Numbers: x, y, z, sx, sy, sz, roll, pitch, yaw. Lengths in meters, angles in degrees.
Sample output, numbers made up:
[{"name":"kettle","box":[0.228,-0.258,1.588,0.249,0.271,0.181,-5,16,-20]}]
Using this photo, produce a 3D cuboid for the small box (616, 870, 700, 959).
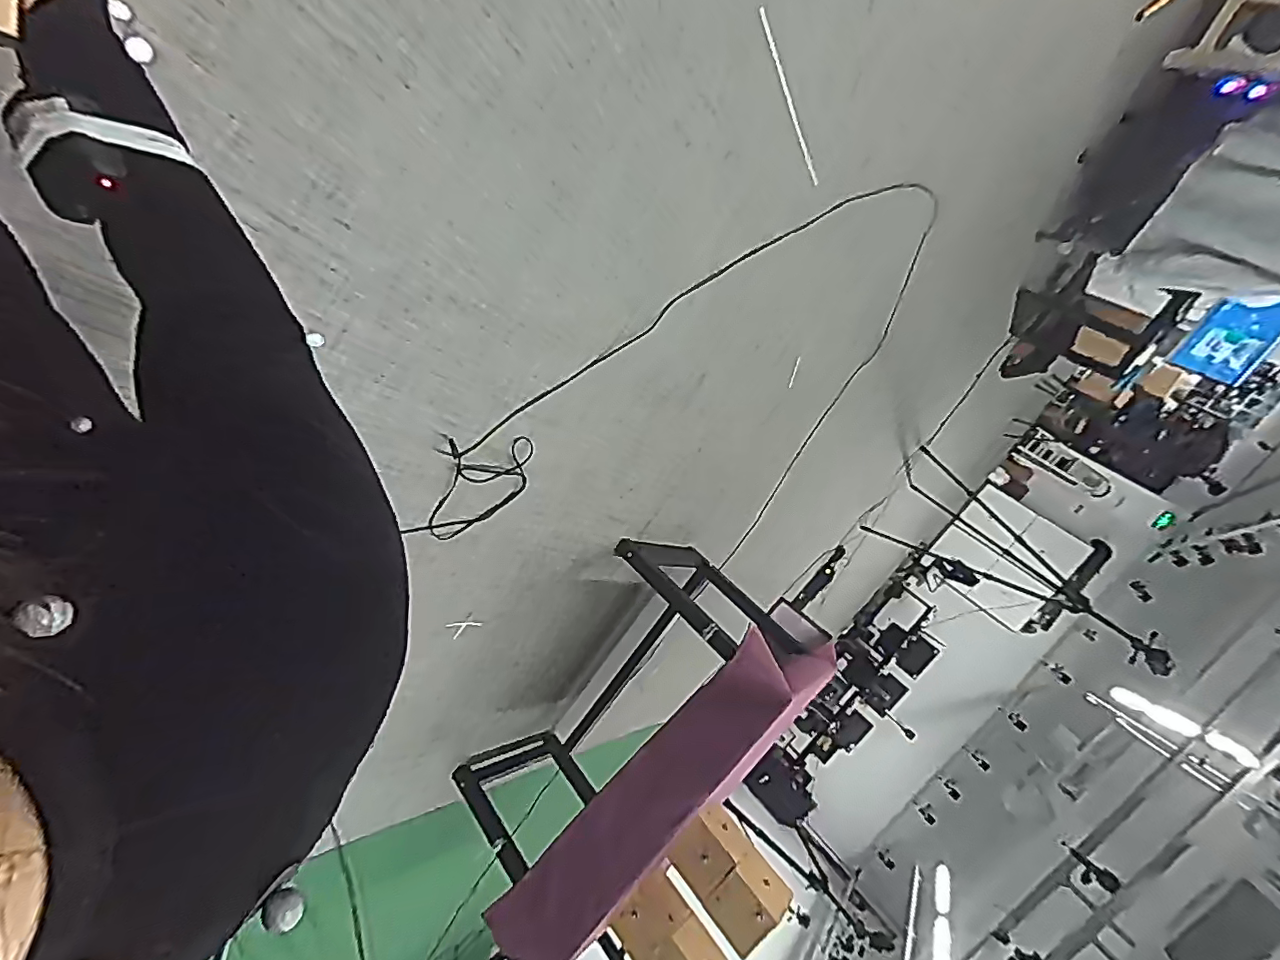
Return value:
[{"name":"small box","box":[0.057,1.402,1.728,0.168,0.176,0.179,-53,149,6]}]

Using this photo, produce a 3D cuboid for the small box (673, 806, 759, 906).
[{"name":"small box","box":[0.234,1.151,1.678,0.179,0.176,0.168,-54,149,6]}]

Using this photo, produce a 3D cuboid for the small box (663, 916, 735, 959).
[{"name":"small box","box":[0.164,1.495,1.644,0.168,0.176,0.179,-53,149,7]}]
